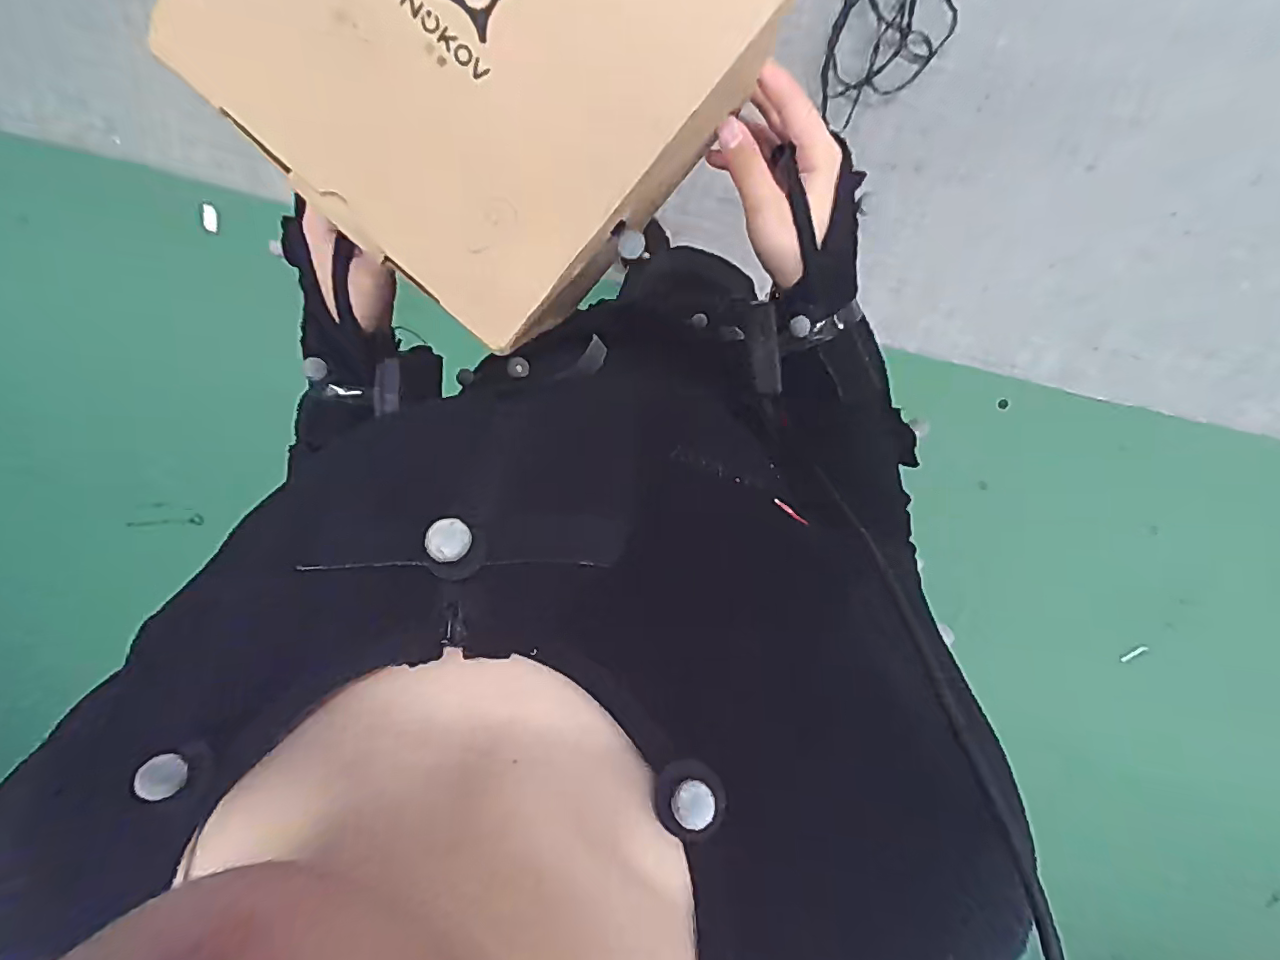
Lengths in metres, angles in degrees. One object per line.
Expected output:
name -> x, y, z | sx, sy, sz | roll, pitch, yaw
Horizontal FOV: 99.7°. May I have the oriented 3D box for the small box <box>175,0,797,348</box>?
small box -> -0.053, -0.193, 0.266 | 0.168, 0.176, 0.179 | 42, 108, -12
